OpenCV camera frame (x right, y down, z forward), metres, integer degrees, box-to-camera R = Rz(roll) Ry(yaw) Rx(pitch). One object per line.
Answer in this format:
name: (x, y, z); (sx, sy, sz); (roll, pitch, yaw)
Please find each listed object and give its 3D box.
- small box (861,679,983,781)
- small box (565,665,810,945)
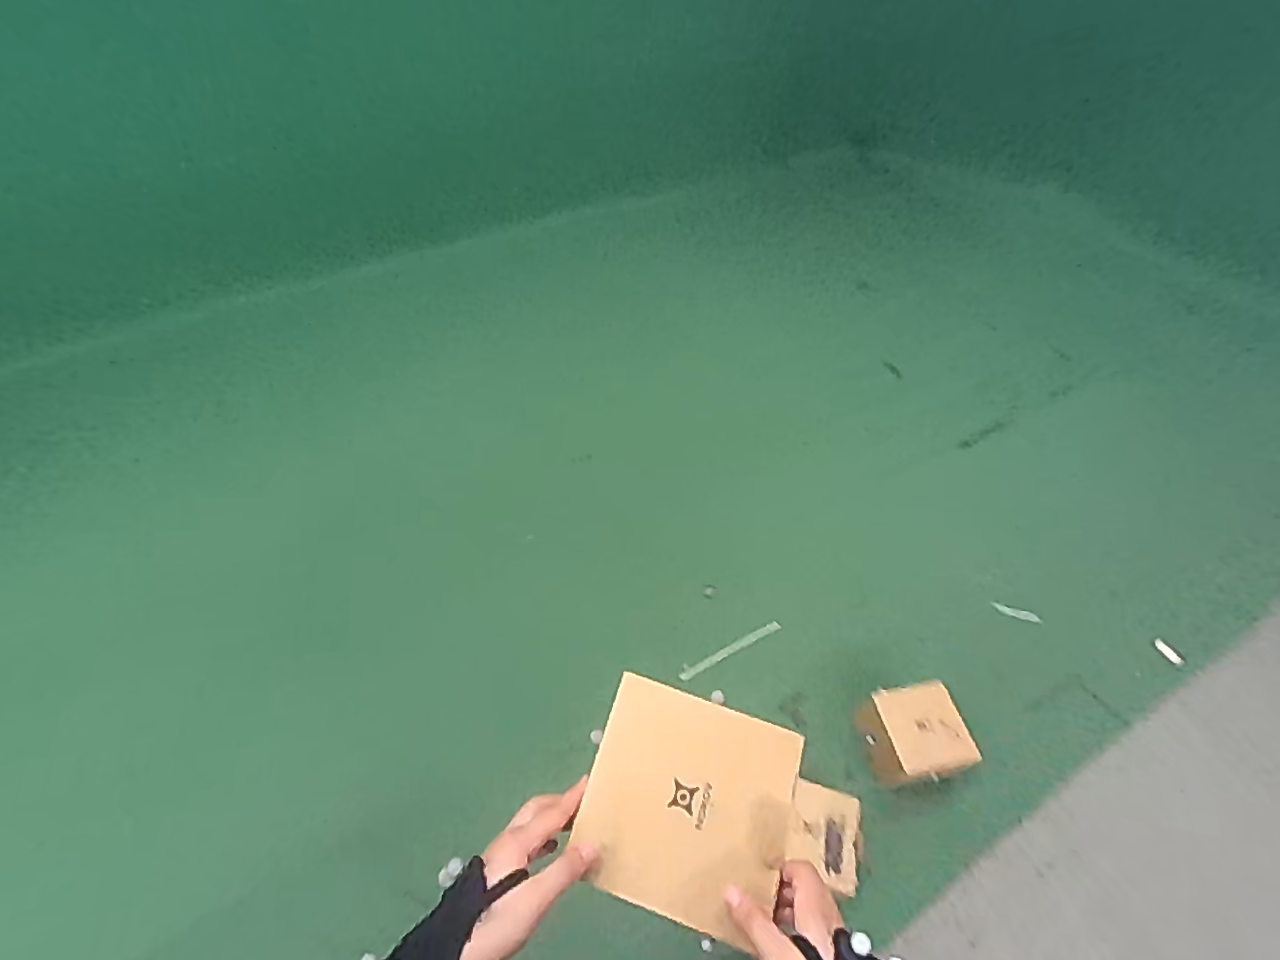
small box: (0.635, 0.581, 1.251); (0.179, 0.176, 0.168); (-8, 53, -6)
small box: (0.043, 0.300, 0.526); (0.179, 0.176, 0.168); (17, 64, 6)
